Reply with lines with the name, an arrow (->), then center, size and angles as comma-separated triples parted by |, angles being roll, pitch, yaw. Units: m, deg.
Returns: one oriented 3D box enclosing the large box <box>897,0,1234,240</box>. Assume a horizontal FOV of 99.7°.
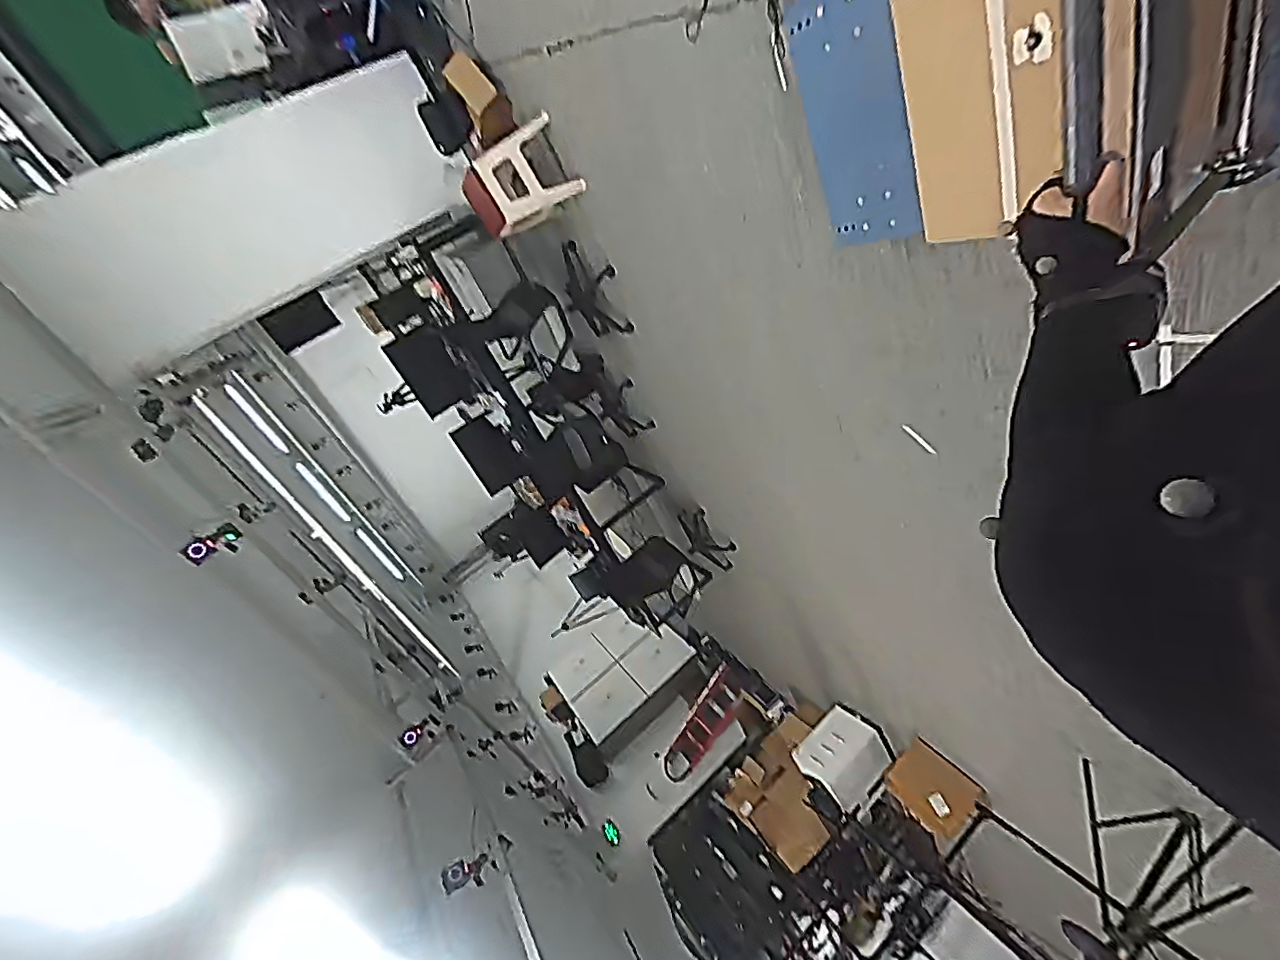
large box -> 0.676, -0.663, 0.864 | 0.320, 0.320, 0.408 | 24, 146, 55
